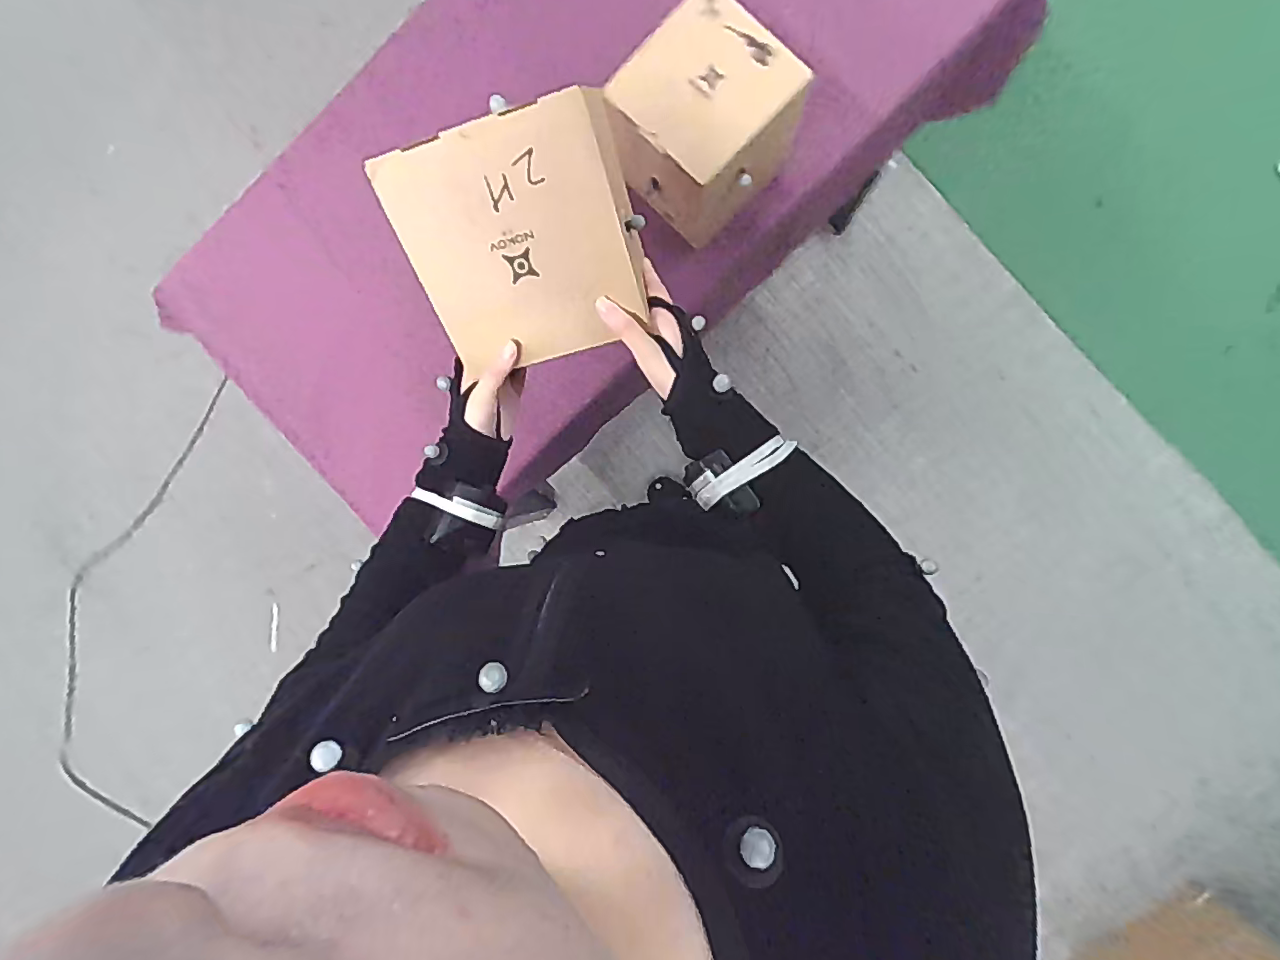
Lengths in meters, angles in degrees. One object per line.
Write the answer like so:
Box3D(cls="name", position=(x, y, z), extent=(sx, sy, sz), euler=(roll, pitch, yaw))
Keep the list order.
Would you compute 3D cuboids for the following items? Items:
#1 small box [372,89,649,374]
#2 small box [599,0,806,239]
Box3D(cls="small box", position=(-0.088, -0.222, 0.479), extent=(0.168, 0.176, 0.179), euler=(-12, 124, 9))
Box3D(cls="small box", position=(0.077, -0.445, 0.681), extent=(0.179, 0.176, 0.168), euler=(-45, 87, 4))
